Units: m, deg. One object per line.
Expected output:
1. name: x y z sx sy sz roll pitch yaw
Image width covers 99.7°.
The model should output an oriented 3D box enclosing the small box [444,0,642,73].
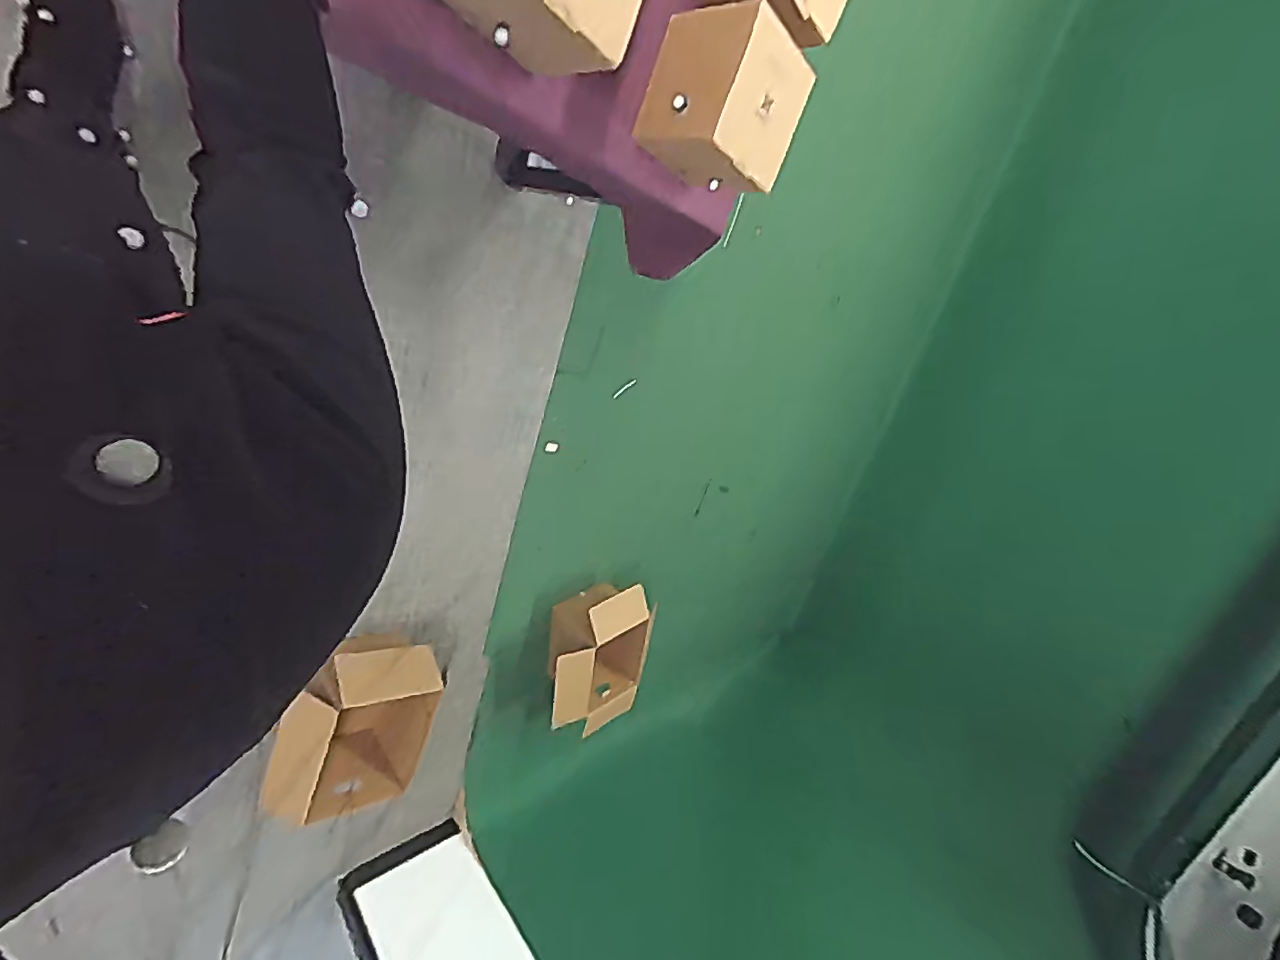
1. small box: -0.099 -0.570 0.565 0.168 0.176 0.179 7 109 -49

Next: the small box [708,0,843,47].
1. small box: 0.195 -0.756 0.762 0.168 0.176 0.179 10 108 -50
